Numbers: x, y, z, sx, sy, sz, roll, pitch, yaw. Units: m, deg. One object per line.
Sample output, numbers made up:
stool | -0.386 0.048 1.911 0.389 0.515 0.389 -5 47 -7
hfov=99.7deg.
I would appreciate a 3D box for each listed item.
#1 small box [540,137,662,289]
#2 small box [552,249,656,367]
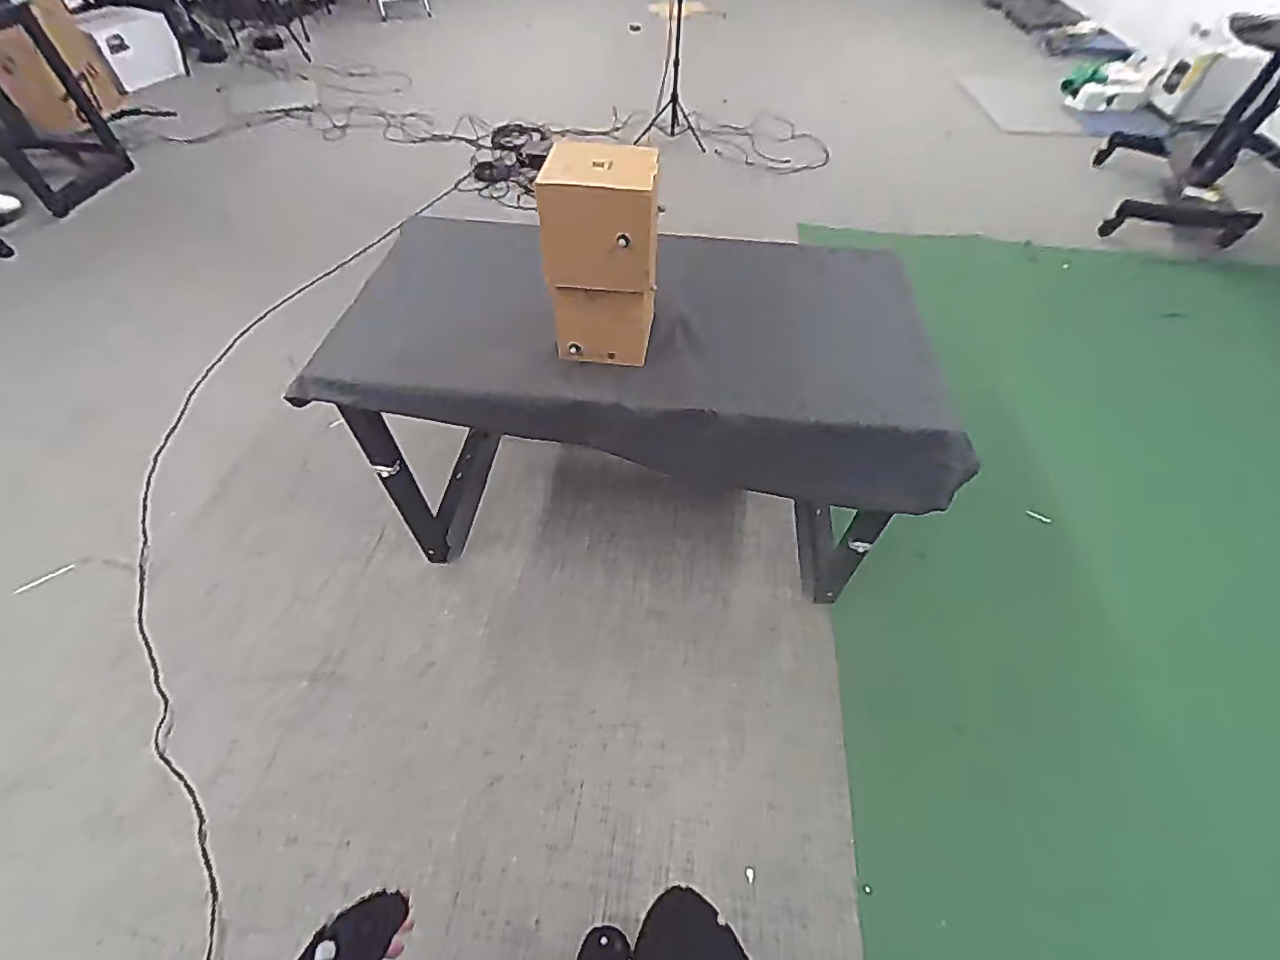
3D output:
small box | -0.058 -0.432 0.886 0.179 0.176 0.168 2 51 -1
small box | -0.061 -0.338 1.038 0.168 0.176 0.179 7 51 4
